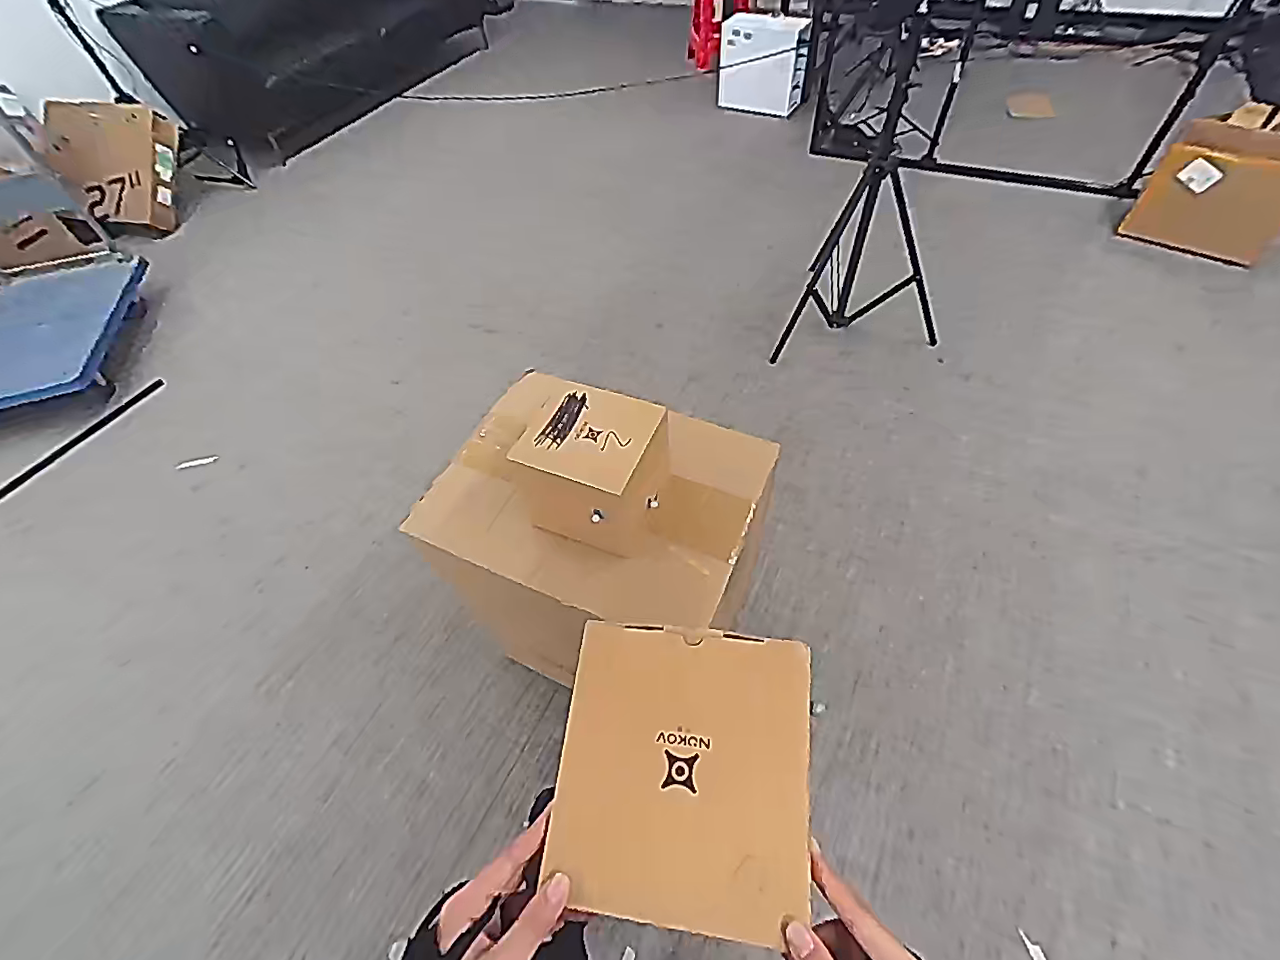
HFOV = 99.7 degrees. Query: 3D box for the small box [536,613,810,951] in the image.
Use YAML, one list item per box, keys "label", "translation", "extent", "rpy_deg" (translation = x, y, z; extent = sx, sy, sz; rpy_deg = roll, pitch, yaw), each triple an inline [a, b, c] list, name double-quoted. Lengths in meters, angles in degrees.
- label: "small box"
  translation: [0.038, 0.218, 0.419]
  extent: [0.168, 0.176, 0.179]
  rpy_deg: [3, 61, 10]
